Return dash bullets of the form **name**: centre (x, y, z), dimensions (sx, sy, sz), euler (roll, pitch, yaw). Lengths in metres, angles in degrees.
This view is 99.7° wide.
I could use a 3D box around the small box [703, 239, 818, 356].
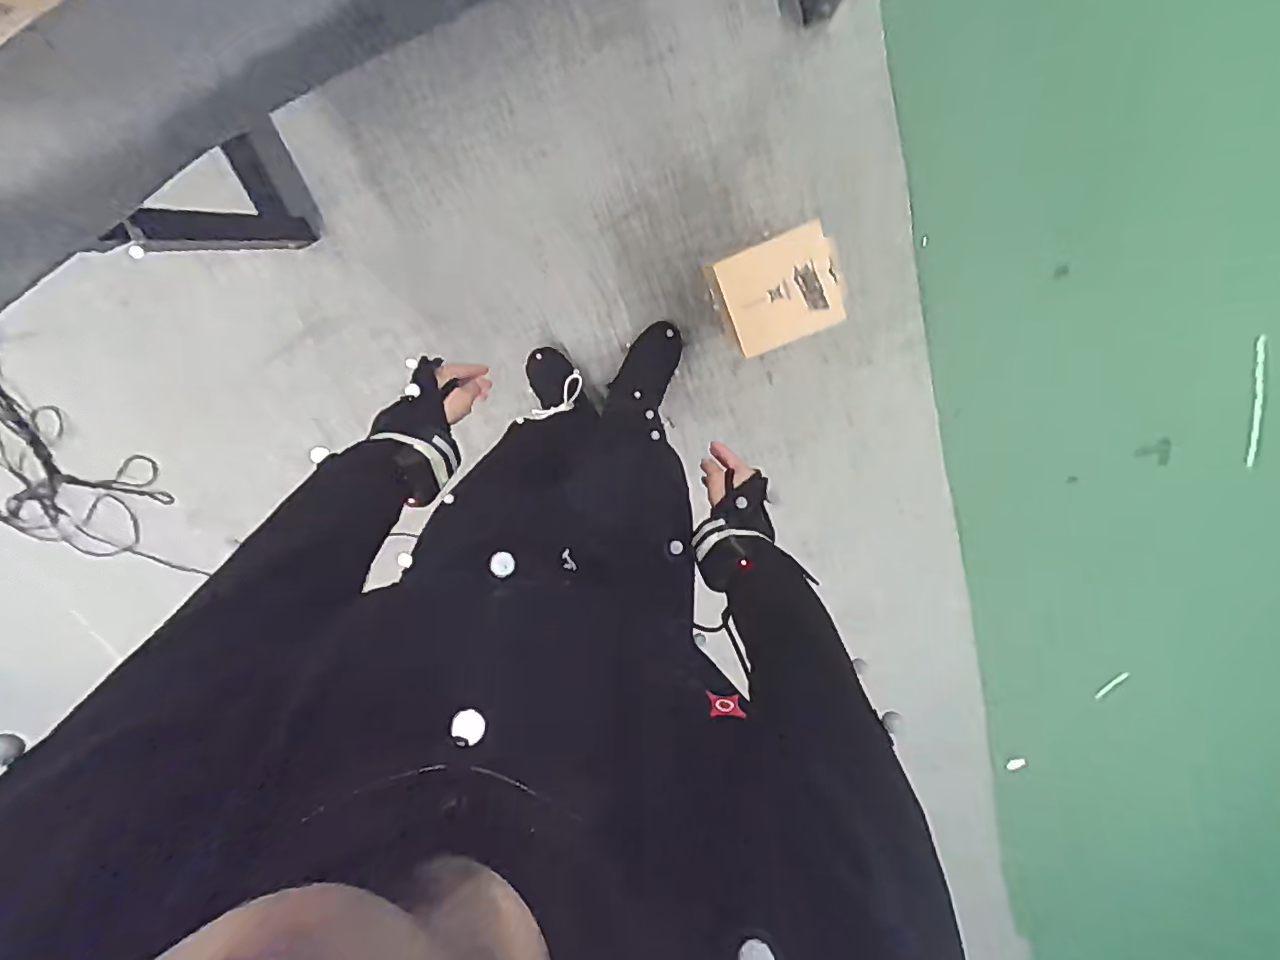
- **small box**: centre (0.237, -0.373, 1.098), dimensions (0.179, 0.176, 0.168), euler (-21, 109, 12)
